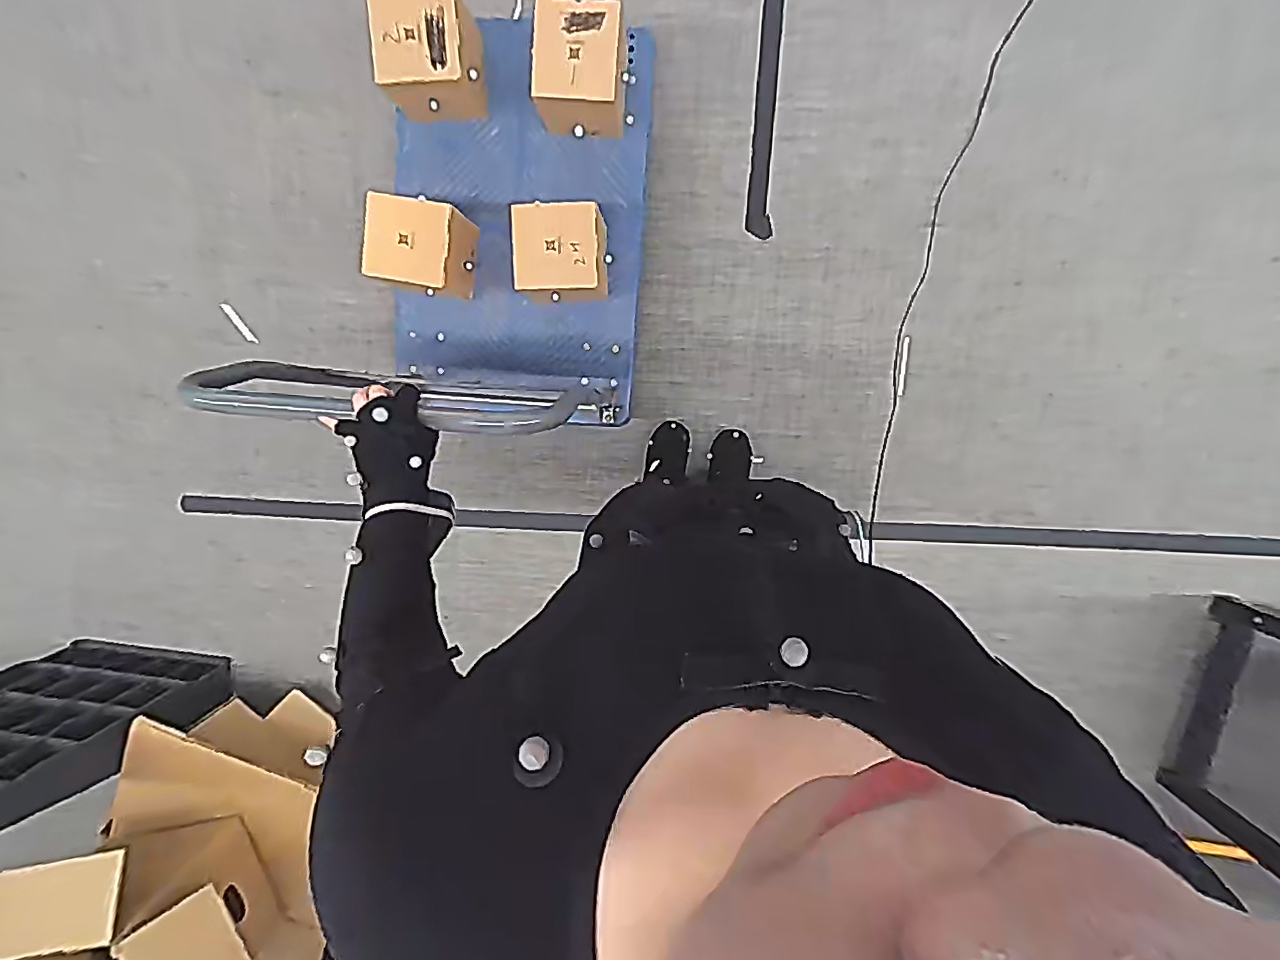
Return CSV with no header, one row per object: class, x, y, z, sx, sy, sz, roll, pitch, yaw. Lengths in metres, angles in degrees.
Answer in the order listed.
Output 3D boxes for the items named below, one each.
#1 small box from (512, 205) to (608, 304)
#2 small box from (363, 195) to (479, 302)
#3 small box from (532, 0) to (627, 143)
small box,-0.166,-0.479,1.170,0.179,0.176,0.168,0,99,3
small box,-0.473,-0.497,1.185,0.179,0.176,0.168,9,99,0
small box,-0.118,-0.830,1.110,0.168,0.176,0.179,5,101,2
